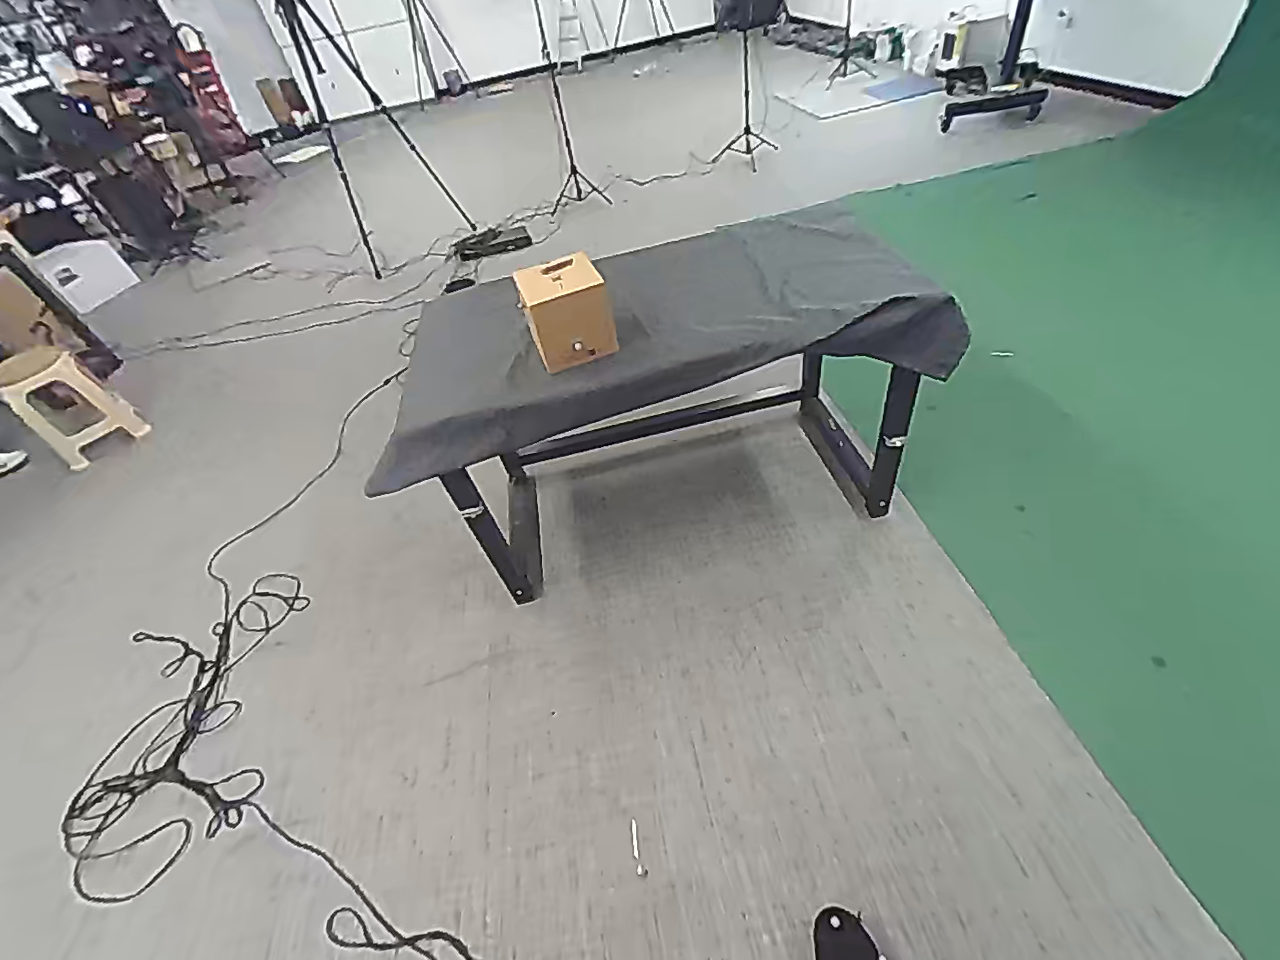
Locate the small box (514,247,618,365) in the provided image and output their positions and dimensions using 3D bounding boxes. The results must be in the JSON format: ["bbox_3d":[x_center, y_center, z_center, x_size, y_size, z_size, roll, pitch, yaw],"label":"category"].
[{"bbox_3d":[-0.161,-0.380,1.186,0.168,0.176,0.179,-20,47,-7],"label":"small box"}]
